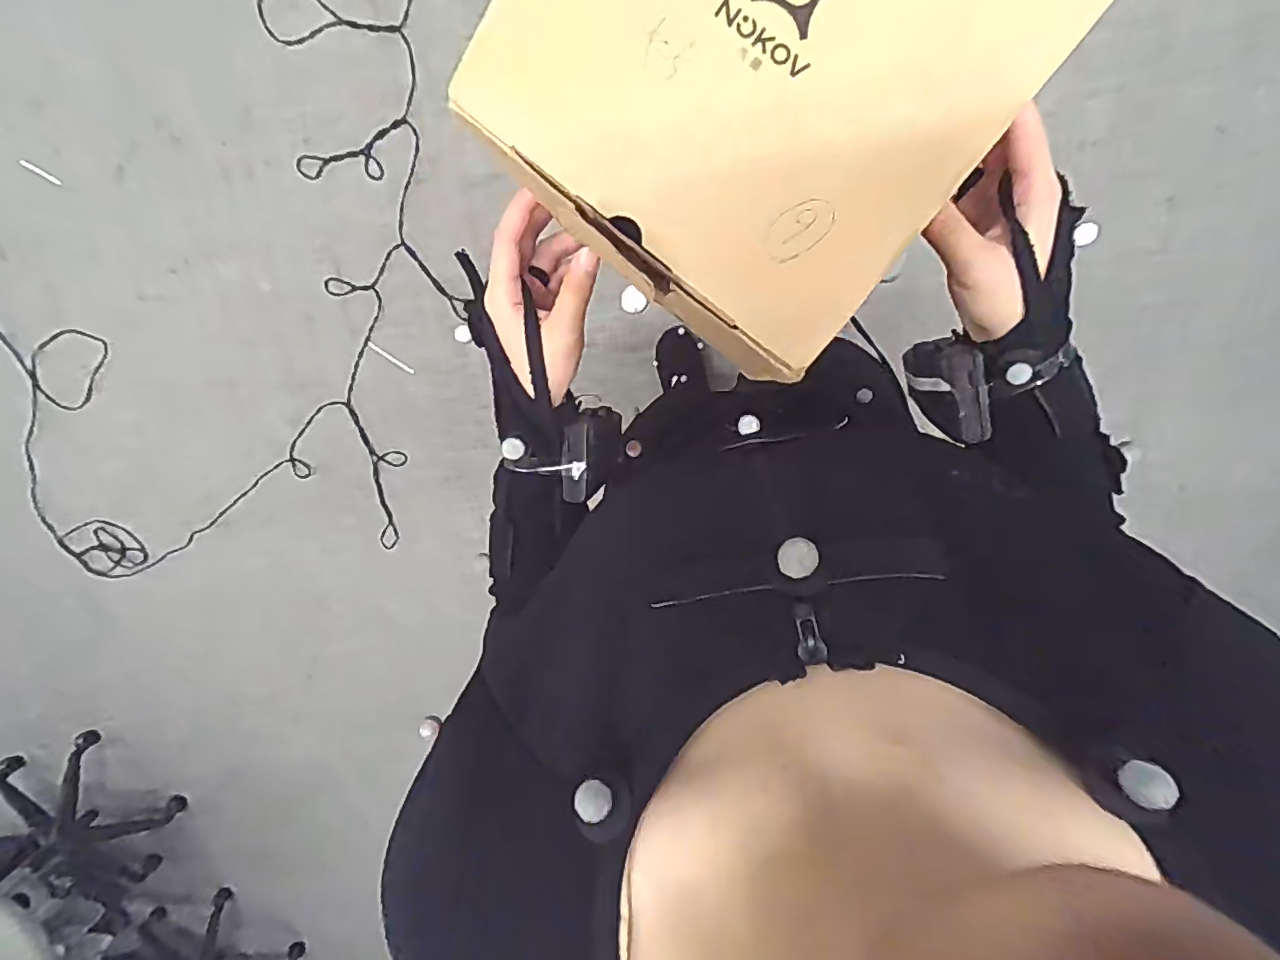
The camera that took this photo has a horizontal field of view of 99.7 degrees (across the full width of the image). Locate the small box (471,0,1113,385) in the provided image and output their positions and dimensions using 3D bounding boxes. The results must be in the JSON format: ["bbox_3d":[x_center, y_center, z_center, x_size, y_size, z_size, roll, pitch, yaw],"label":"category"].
[{"bbox_3d":[0.057,-0.166,0.271,0.168,0.176,0.179,38,104,-1],"label":"small box"}]
